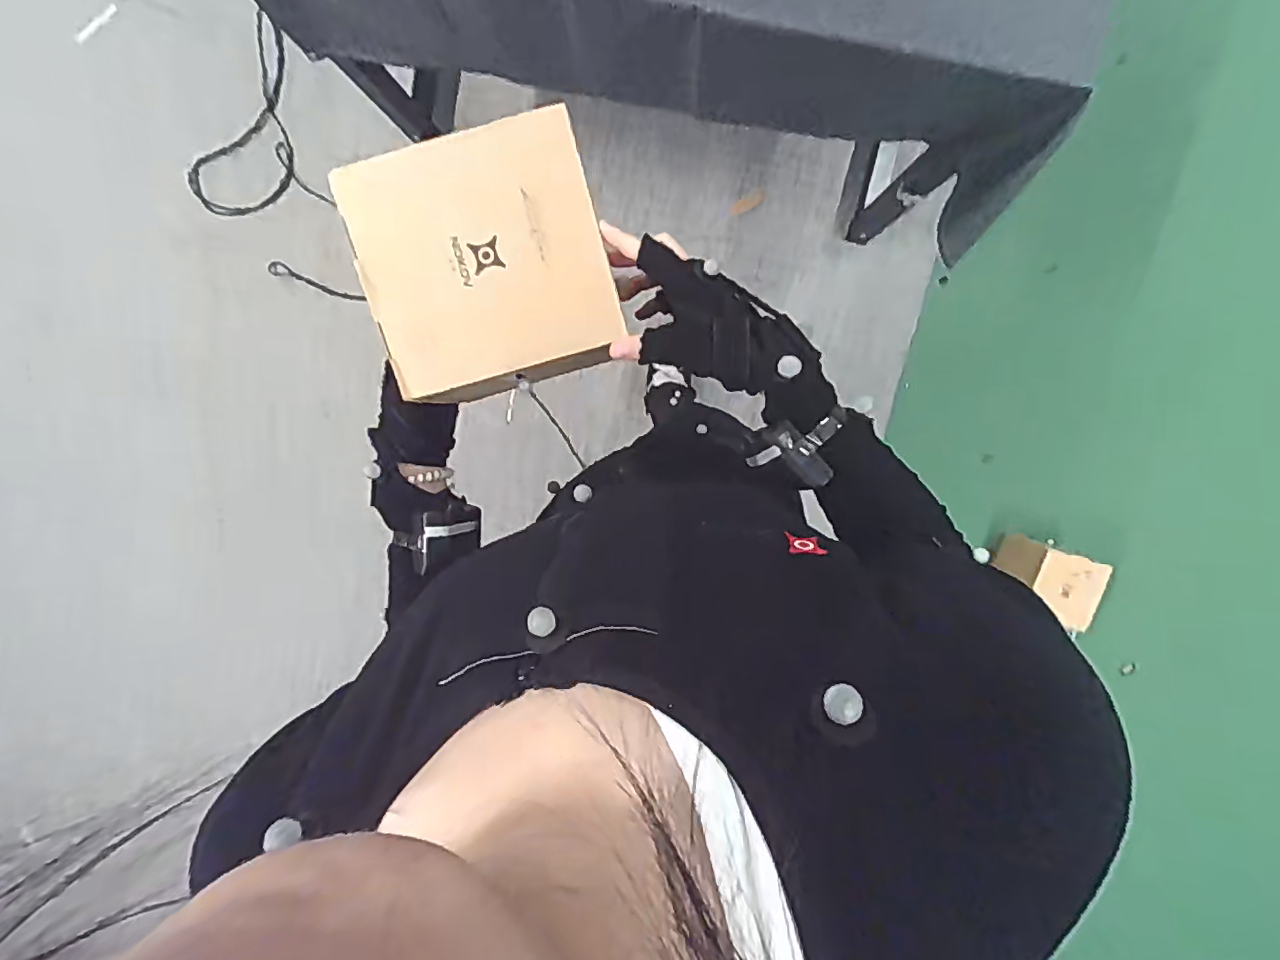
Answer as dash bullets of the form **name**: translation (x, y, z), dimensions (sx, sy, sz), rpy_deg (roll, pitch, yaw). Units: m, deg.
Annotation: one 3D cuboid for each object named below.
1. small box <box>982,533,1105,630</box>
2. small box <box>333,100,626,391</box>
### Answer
- **small box**: translation (1.030, 0.255, 1.401), dimensions (0.168, 0.176, 0.179), rpy_deg (16, 98, -1)
- **small box**: translation (-0.115, -0.176, 0.467), dimensions (0.179, 0.176, 0.168), rpy_deg (-15, 99, 1)
